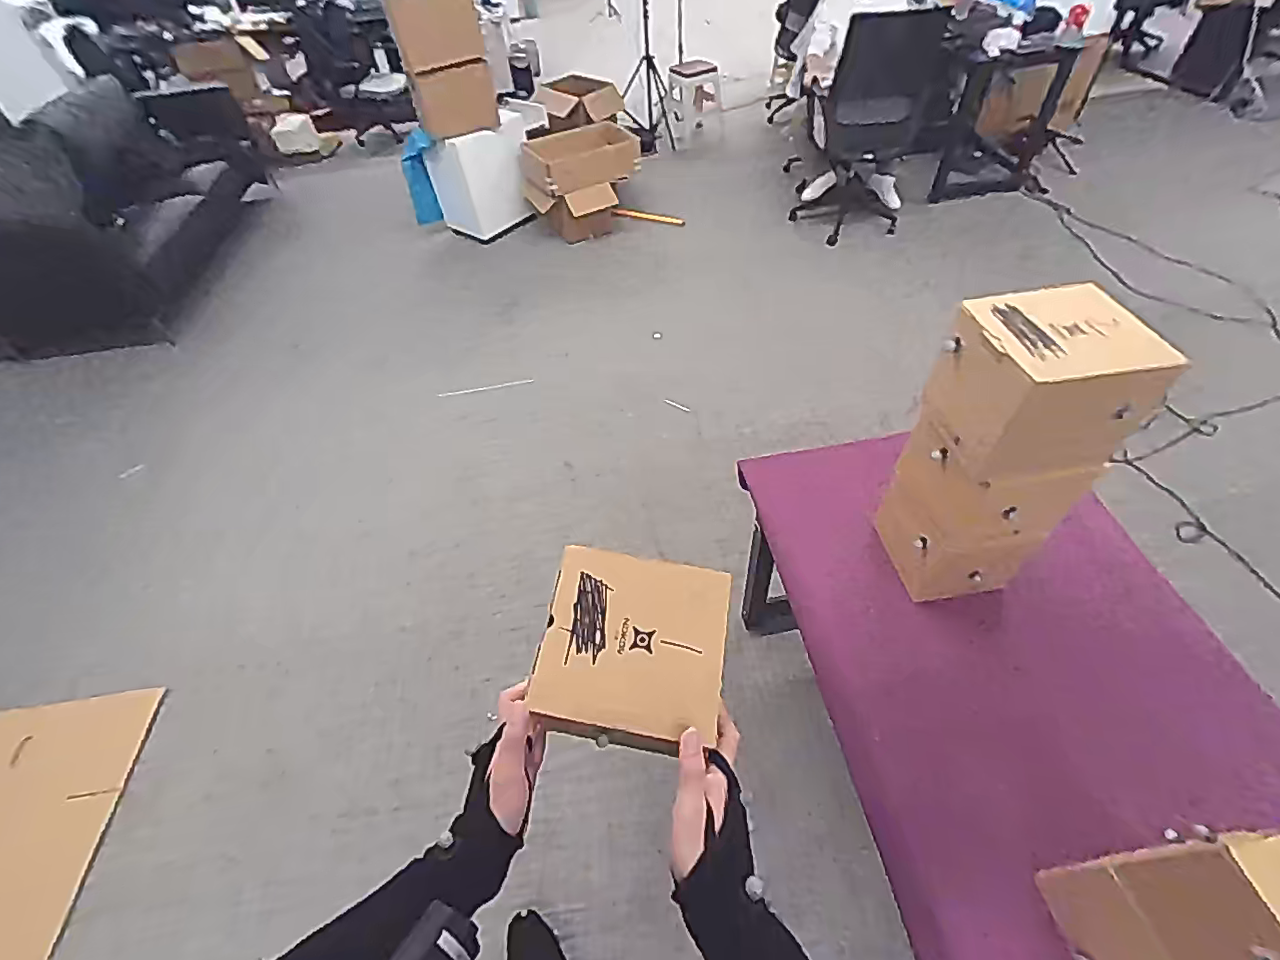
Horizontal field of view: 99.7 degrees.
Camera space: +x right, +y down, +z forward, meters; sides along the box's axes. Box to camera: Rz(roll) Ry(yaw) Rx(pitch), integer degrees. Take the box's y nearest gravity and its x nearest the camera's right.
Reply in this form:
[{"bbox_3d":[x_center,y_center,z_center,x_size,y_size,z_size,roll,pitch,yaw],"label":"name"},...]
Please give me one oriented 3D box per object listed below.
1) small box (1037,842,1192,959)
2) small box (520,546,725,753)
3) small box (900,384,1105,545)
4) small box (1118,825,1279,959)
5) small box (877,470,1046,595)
[{"bbox_3d":[0.592,0.510,0.586,0.168,0.176,0.179,-10,50,-3],"label":"small box"},{"bbox_3d":[-0.013,0.192,0.592,0.179,0.176,0.168,10,60,4],"label":"small box"},{"bbox_3d":[0.526,-0.016,0.818,0.168,0.176,0.179,-9,50,-1],"label":"small box"},{"bbox_3d":[0.580,0.405,0.460,0.168,0.176,0.179,-9,50,-1],"label":"small box"},{"bbox_3d":[0.542,0.086,0.942,0.168,0.176,0.179,-9,50,-2],"label":"small box"}]
